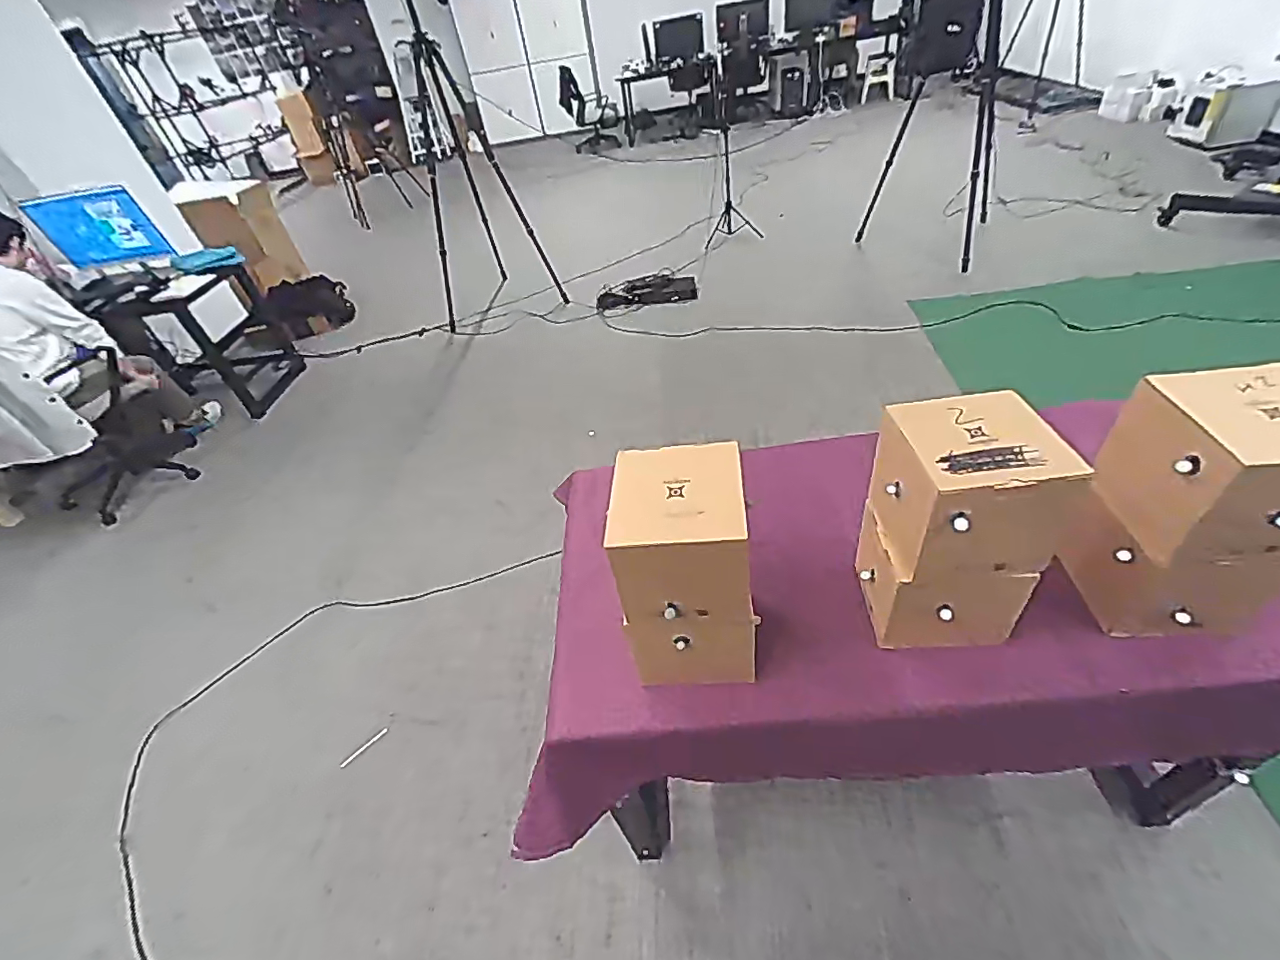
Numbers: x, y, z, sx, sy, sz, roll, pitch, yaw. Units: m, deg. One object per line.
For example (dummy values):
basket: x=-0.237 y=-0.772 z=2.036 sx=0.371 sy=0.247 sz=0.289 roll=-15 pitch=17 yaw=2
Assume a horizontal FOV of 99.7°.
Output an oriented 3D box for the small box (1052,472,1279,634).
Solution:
small box: x=0.747 y=0.102 z=0.784 sx=0.168 sy=0.176 sz=0.179 roll=-4 pitch=42 yaw=9

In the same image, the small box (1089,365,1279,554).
small box: x=0.723 y=-0.020 z=0.675 sx=0.168 sy=0.176 sz=0.179 roll=-4 pitch=42 yaw=8

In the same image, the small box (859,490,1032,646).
small box: x=0.439 y=0.136 z=0.817 sx=0.179 sy=0.176 sz=0.168 roll=-5 pitch=42 yaw=9

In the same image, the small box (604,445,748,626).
small box: x=0.056 y=0.075 z=0.727 sx=0.168 sy=0.176 sz=0.179 roll=-4 pitch=42 yaw=9

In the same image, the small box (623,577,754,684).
small box: x=0.079 y=0.198 z=0.832 sx=0.179 sy=0.176 sz=0.168 roll=-4 pitch=41 yaw=7
